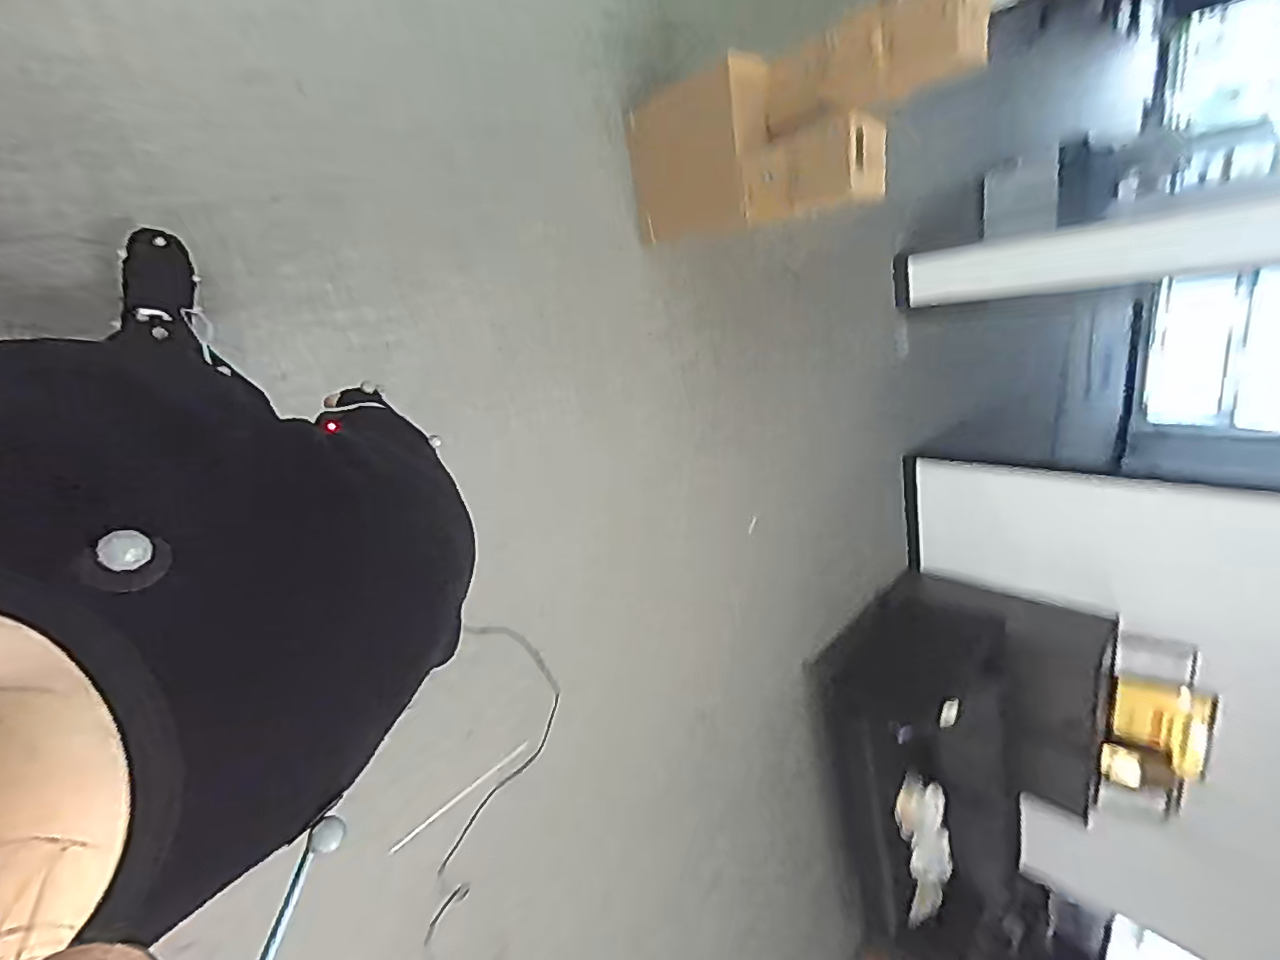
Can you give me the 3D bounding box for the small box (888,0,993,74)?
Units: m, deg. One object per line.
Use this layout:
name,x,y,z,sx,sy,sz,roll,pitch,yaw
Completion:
small box,0.694,-1.073,1.249,0.179,0.176,0.168,-23,111,-37
